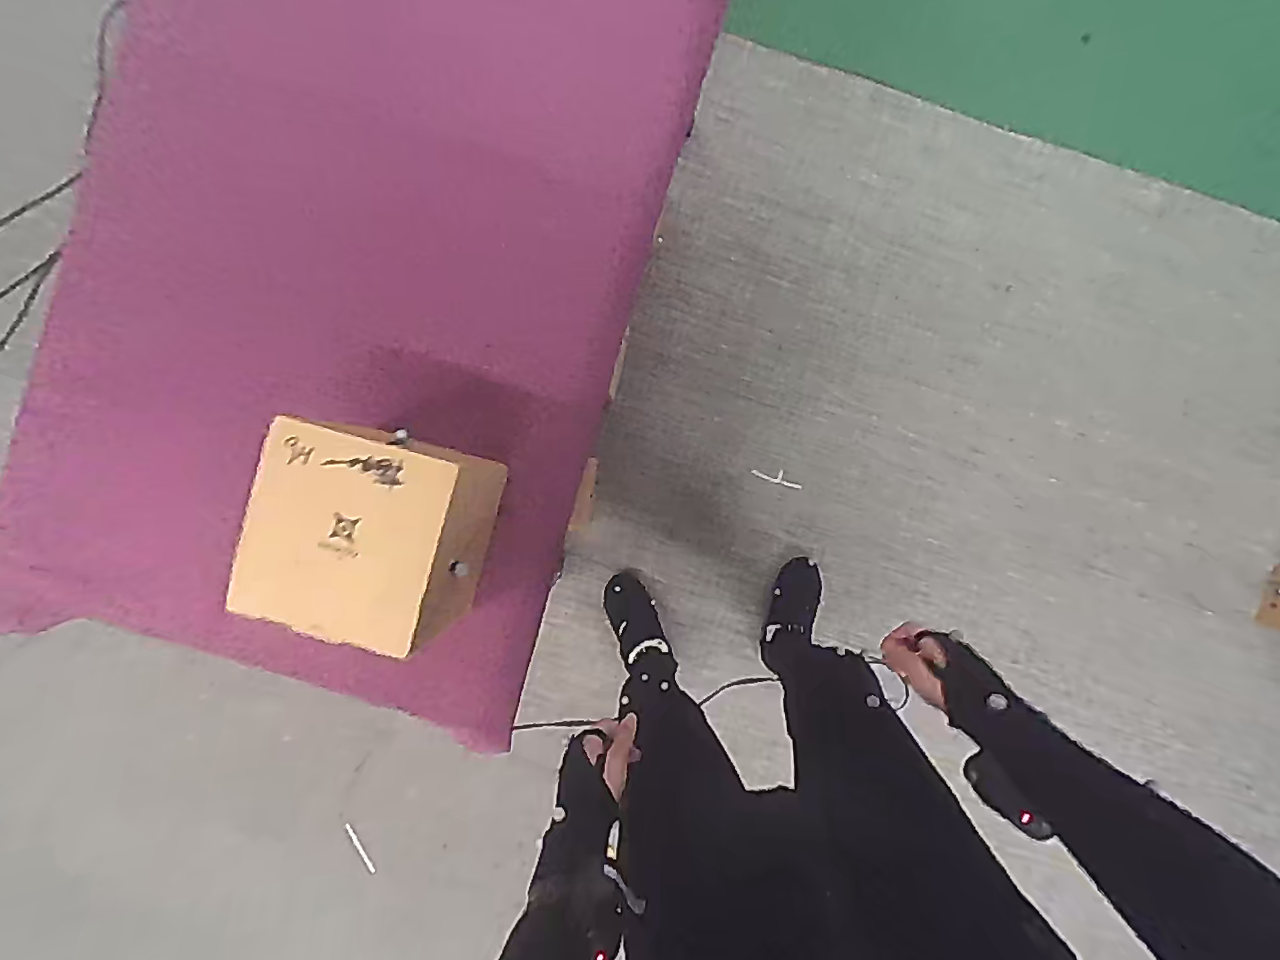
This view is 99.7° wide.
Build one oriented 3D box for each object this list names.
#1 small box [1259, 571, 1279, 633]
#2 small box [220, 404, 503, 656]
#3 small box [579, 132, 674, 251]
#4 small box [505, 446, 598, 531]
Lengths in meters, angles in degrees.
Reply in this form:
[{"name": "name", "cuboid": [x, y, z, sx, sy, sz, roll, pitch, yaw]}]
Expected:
[{"name": "small box", "cuboid": [1.666, 0.320, 1.283, 0.179, 0.176, 0.168, 17, 90, -1]}, {"name": "small box", "cuboid": [-0.249, 0.040, 0.527, 0.168, 0.176, 0.179, 16, 91, 0]}, {"name": "small box", "cuboid": [-0.029, -0.649, 1.241, 0.179, 0.176, 0.168, 14, 91, 0]}, {"name": "small box", "cuboid": [-0.197, 0.017, 1.256, 0.179, 0.176, 0.168, 9, 91, -1]}]
